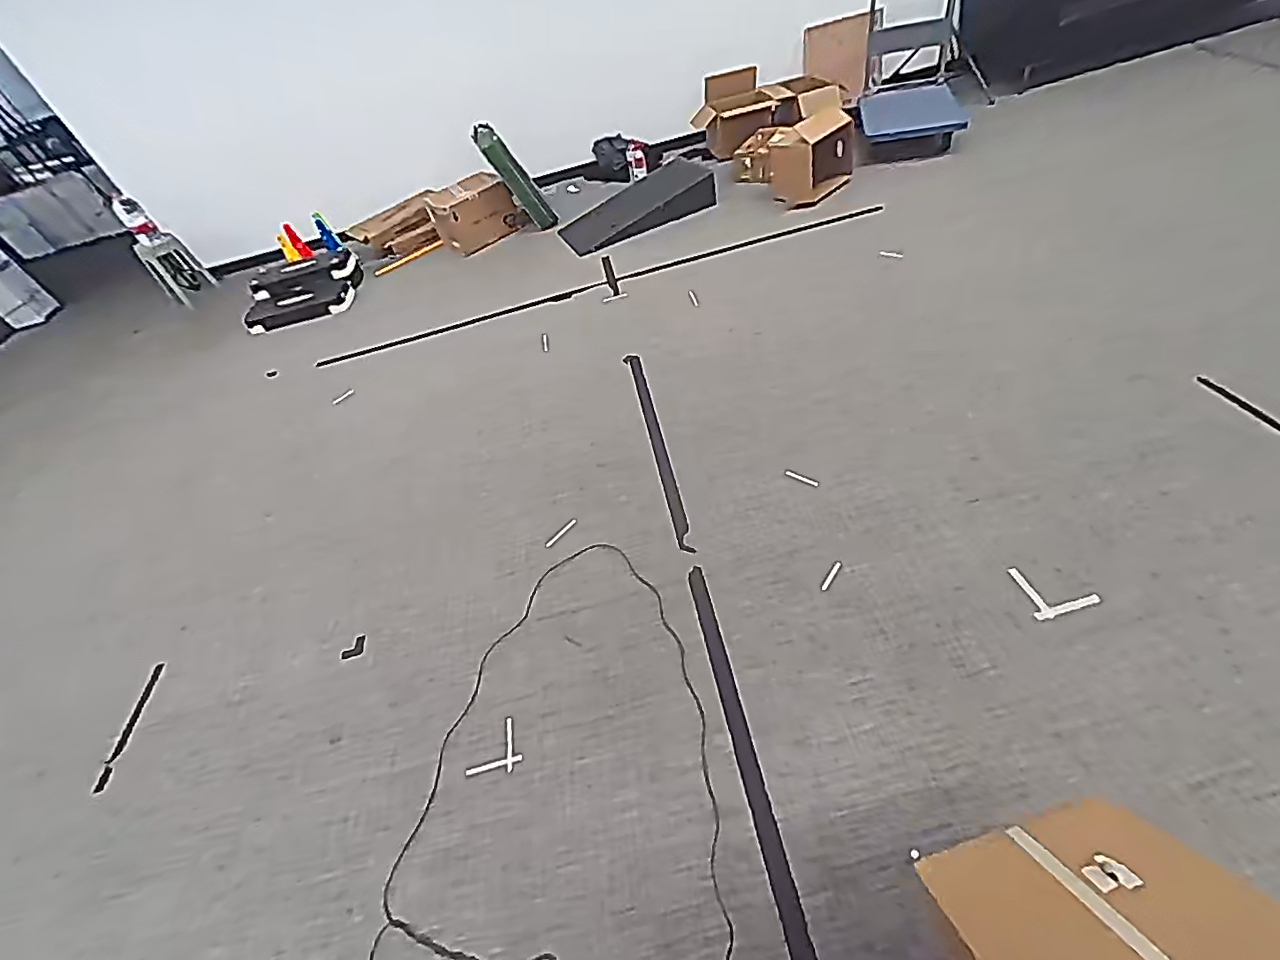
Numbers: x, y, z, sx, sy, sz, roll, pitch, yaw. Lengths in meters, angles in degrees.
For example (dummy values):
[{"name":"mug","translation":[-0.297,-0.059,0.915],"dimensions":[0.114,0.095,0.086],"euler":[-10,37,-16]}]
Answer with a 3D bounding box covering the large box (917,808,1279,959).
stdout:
[{"name":"large box","translation":[0.601,0.662,0.601],"dimensions":[0.320,0.408,0.320],"euler":[-19,84,1]}]
